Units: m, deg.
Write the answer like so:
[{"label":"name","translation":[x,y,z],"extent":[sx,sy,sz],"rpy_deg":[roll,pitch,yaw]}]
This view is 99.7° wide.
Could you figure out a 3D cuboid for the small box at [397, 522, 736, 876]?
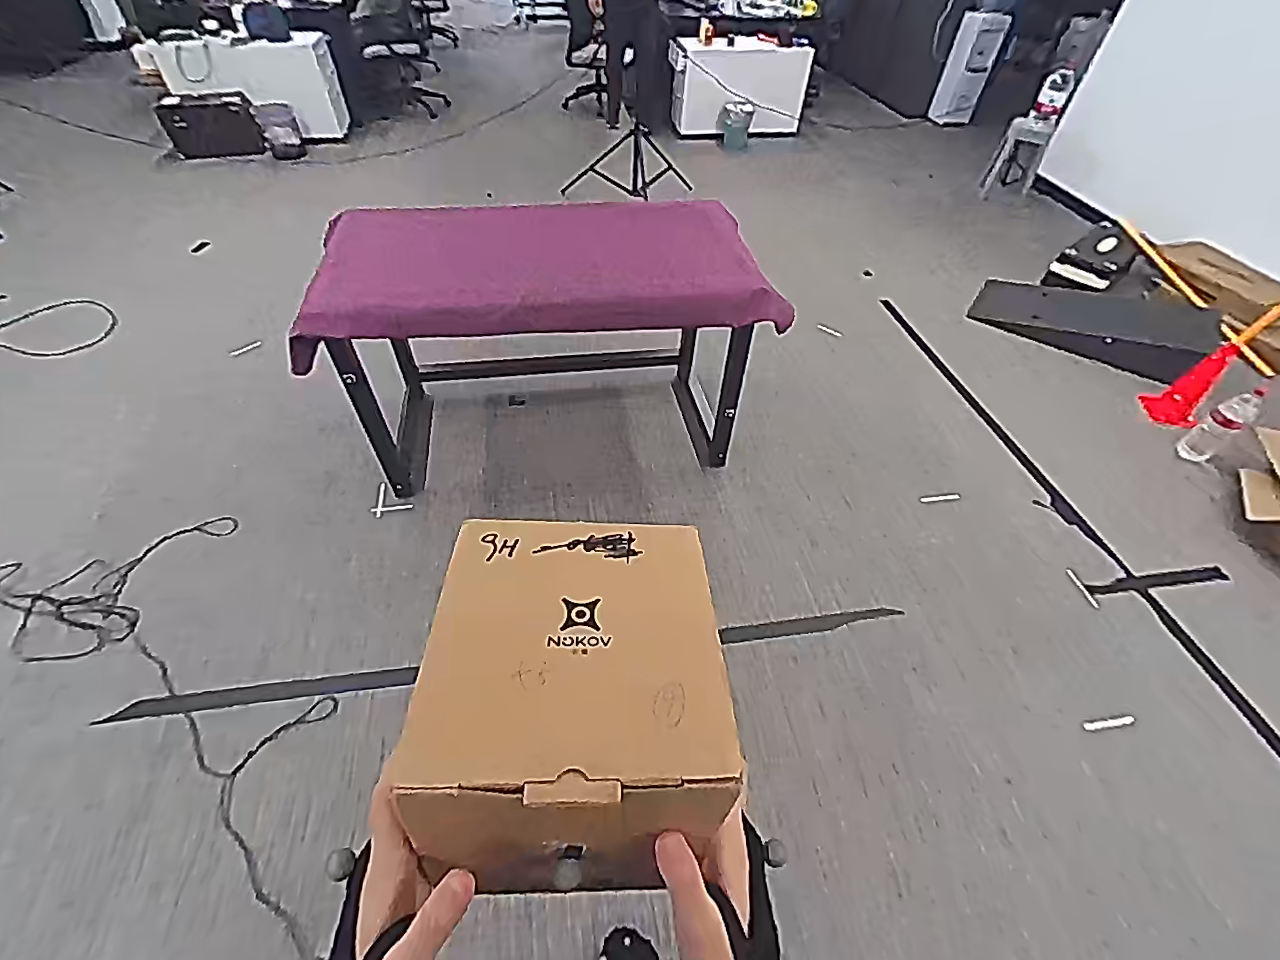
[{"label":"small box","translation":[-0.043,0.150,0.370],"extent":[0.168,0.176,0.179],"rpy_deg":[2,40,-6]}]
